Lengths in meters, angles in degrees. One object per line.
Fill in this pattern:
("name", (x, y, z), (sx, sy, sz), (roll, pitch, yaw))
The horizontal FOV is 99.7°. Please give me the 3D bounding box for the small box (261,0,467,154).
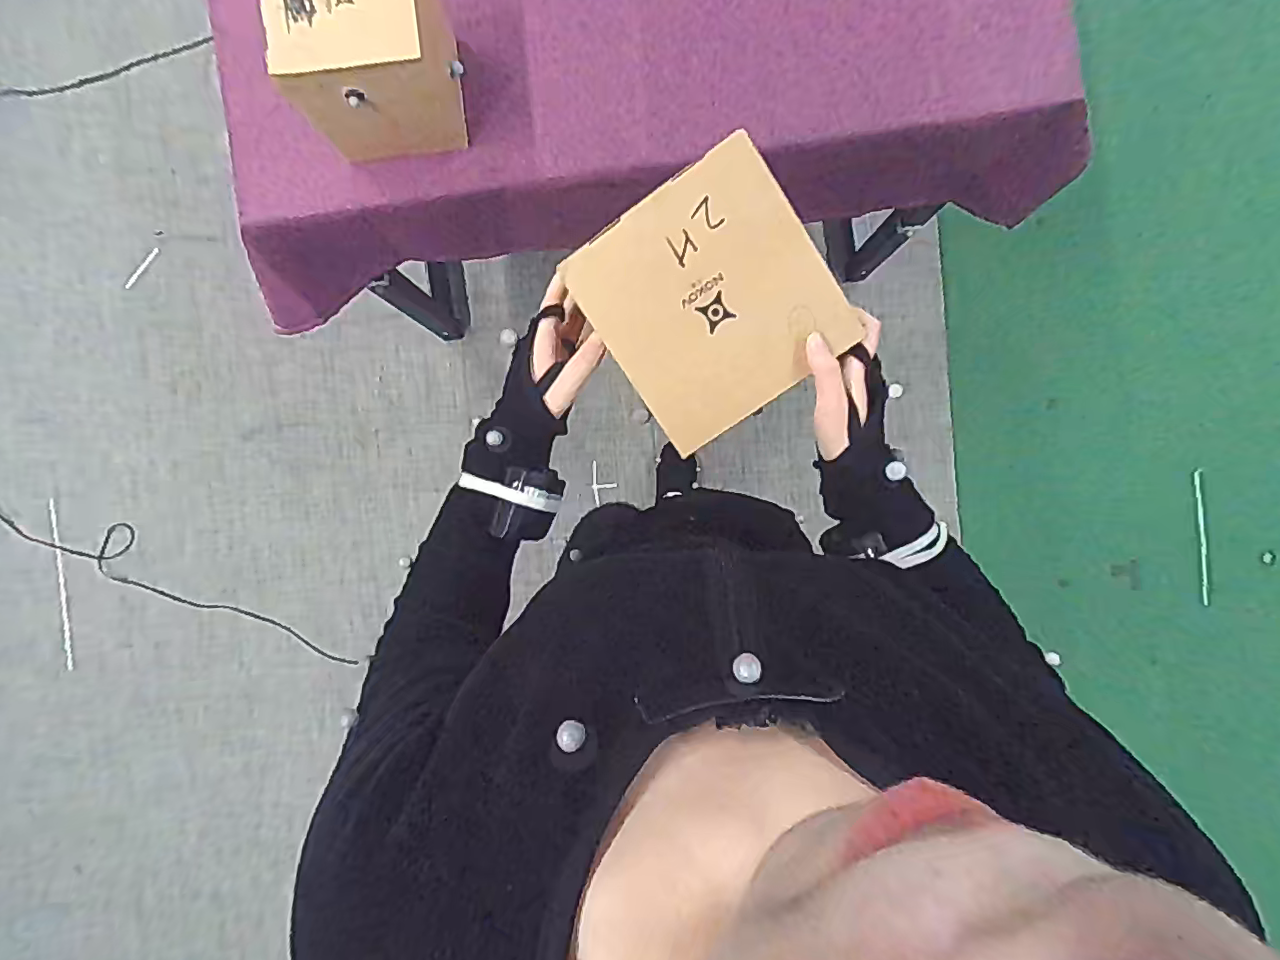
("small box", (-0.339, -0.543, 0.684), (0.179, 0.176, 0.168), (-6, 91, 0))
